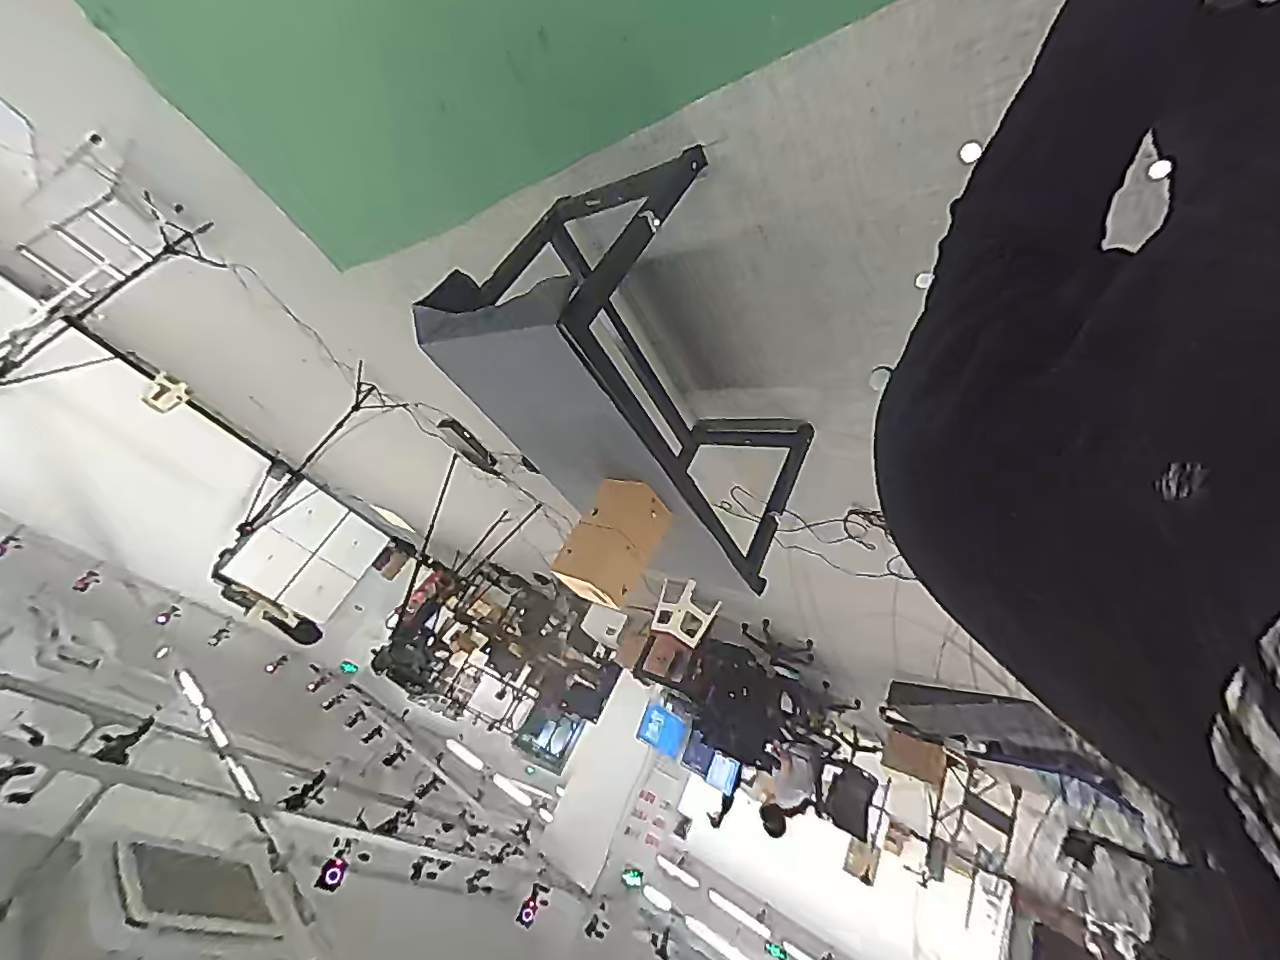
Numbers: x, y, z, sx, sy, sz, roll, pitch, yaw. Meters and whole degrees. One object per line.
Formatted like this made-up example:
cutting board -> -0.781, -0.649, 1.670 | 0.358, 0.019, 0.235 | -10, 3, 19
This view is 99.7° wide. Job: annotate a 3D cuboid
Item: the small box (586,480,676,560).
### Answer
small box -> -0.024, 0.114, 1.624 | 0.179, 0.176, 0.168 | 5, 147, 42
